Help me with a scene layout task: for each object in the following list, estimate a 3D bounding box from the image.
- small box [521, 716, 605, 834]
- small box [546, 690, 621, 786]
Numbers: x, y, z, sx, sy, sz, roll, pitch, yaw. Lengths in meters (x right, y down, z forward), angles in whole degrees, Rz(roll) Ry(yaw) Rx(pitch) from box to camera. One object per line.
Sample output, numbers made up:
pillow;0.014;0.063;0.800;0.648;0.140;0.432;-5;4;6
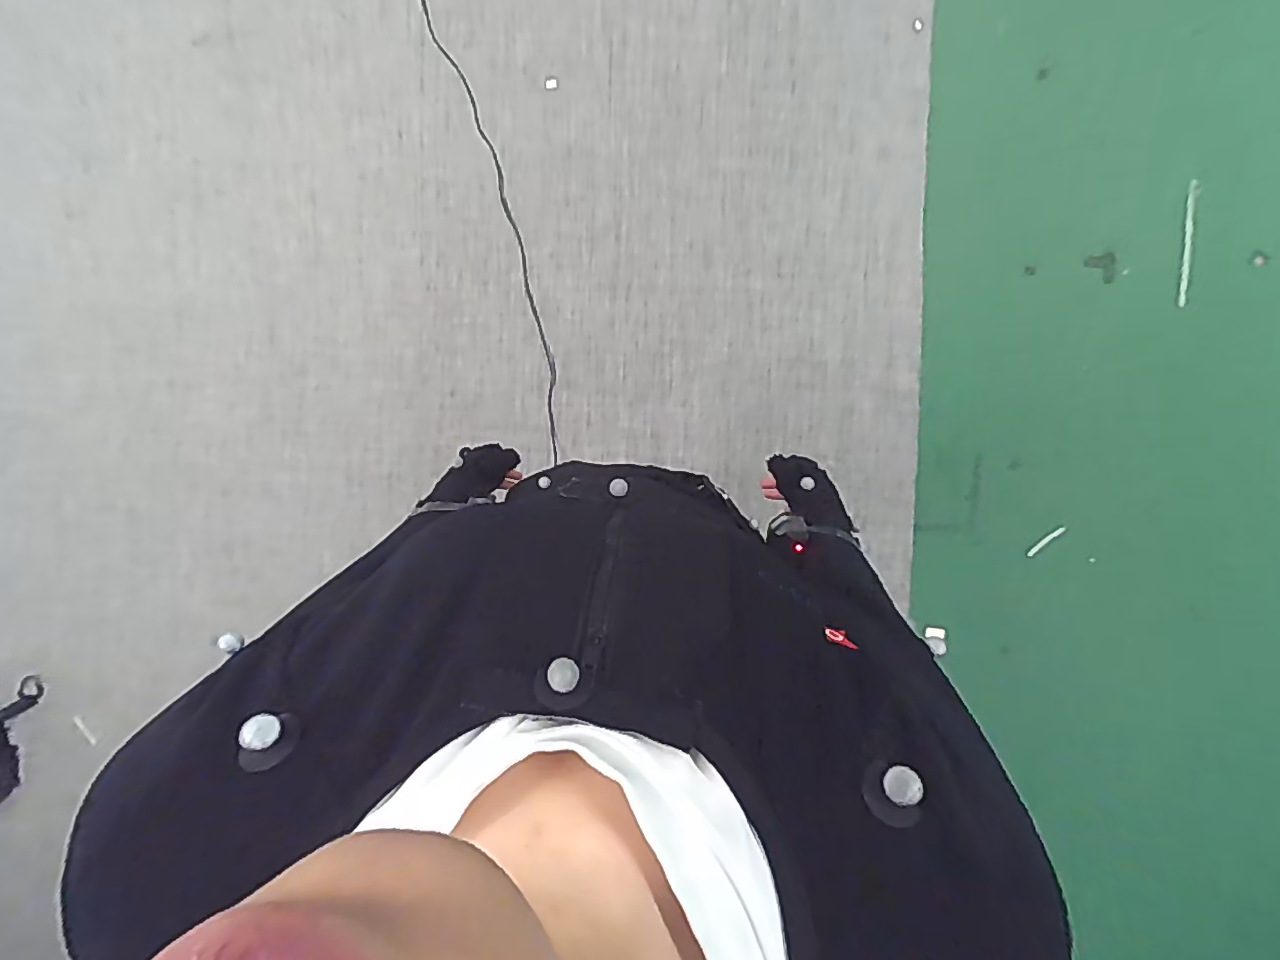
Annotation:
small box;-0.171;0.673;1.248;0.168;0.176;0.179;3;91;1
small box;-0.148;0.662;1.407;0.179;0.176;0.168;4;92;2
